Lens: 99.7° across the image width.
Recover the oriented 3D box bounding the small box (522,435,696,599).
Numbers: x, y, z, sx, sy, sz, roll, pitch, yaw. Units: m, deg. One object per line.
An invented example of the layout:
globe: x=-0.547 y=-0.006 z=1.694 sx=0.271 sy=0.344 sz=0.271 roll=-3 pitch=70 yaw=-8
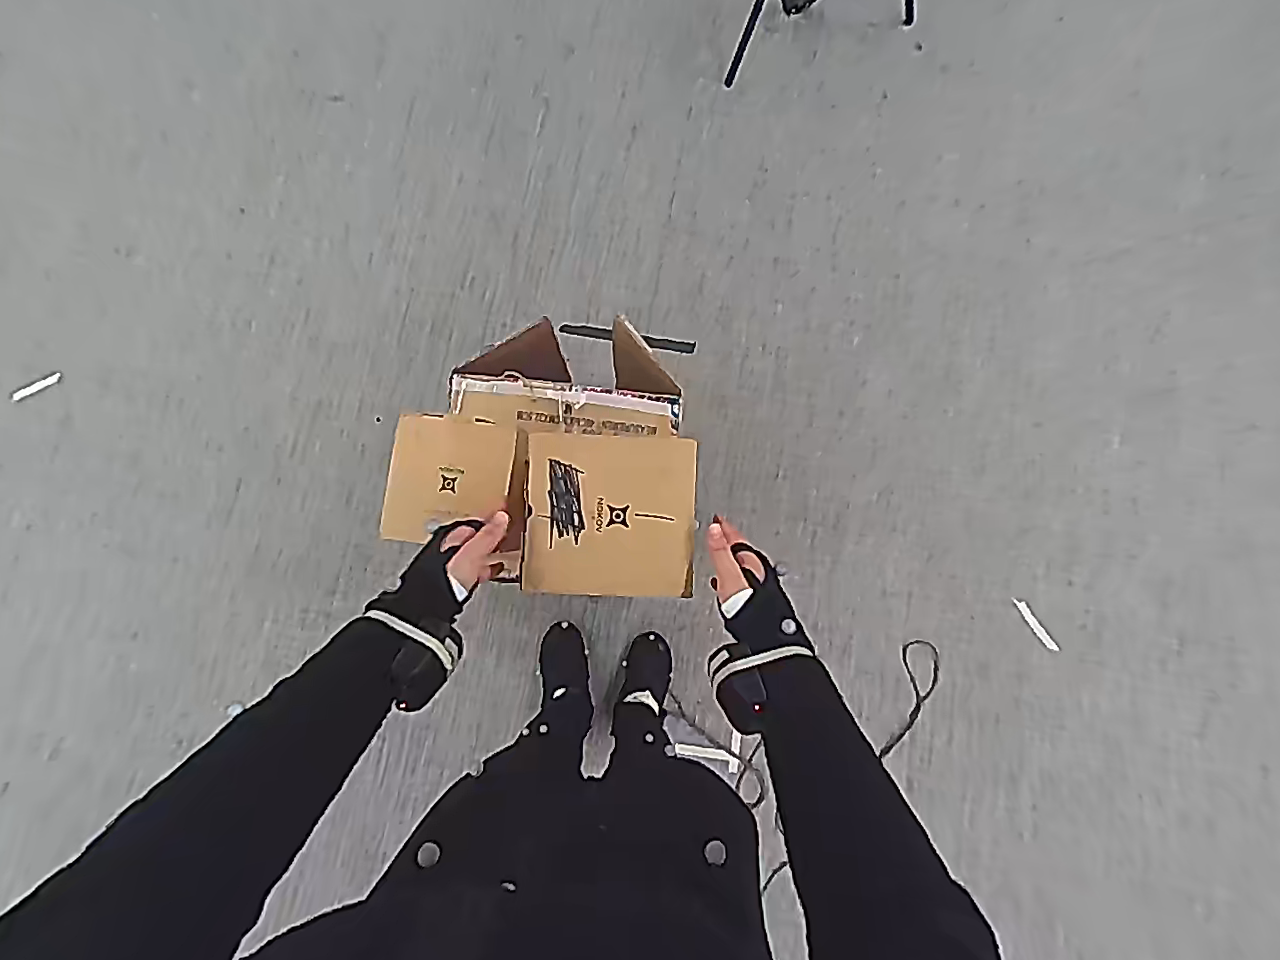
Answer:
small box: x=-0.032 y=0.046 z=0.642 sx=0.179 sy=0.176 sz=0.168 roll=3 pitch=85 yaw=-1

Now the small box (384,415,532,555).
small box: x=-0.251 y=0.013 z=0.809 sx=0.168 sy=0.176 sz=0.179 roll=6 pitch=86 yaw=2
